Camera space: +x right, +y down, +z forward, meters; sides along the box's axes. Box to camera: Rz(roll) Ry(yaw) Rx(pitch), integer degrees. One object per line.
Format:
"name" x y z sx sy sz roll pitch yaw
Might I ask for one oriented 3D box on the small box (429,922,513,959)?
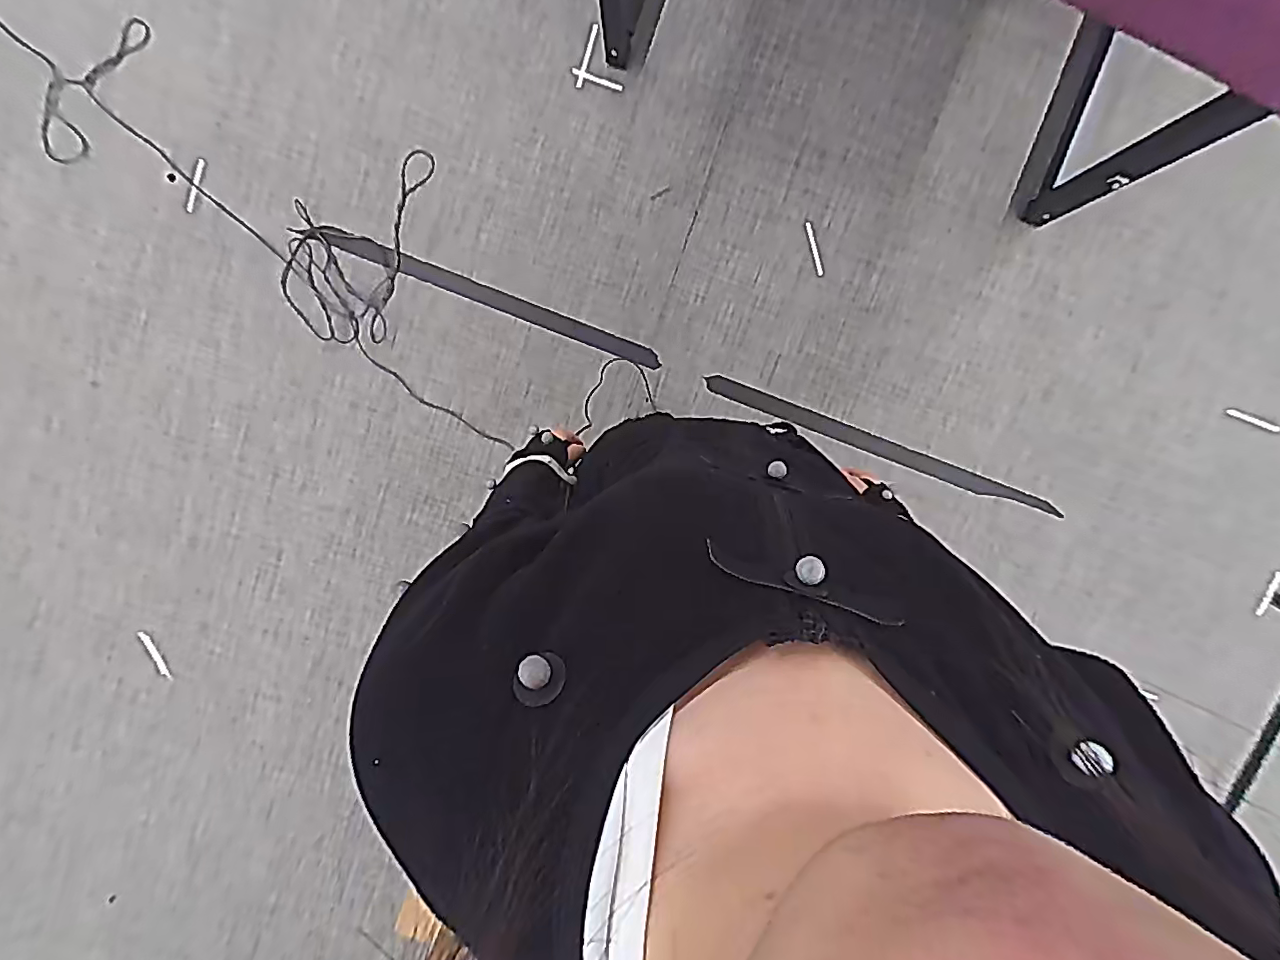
"small box" -0.368 1.056 1.094 0.168 0.176 0.179 17 98 0
